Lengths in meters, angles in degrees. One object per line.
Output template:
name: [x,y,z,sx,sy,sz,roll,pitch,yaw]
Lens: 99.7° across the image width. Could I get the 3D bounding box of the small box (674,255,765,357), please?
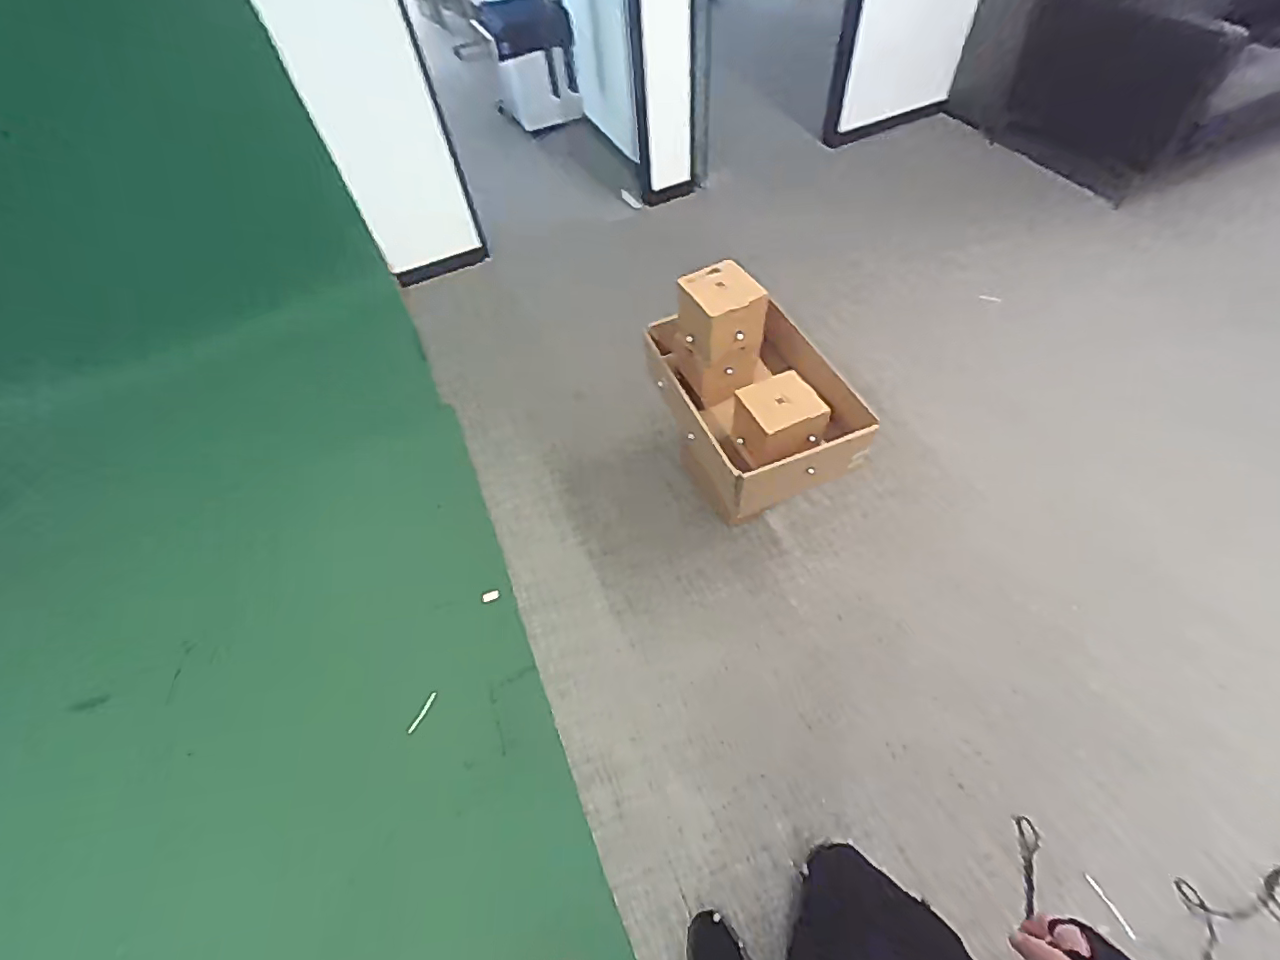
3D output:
small box: [0.204,-0.444,1.407,0.168,0.176,0.179,-25,58,-12]
